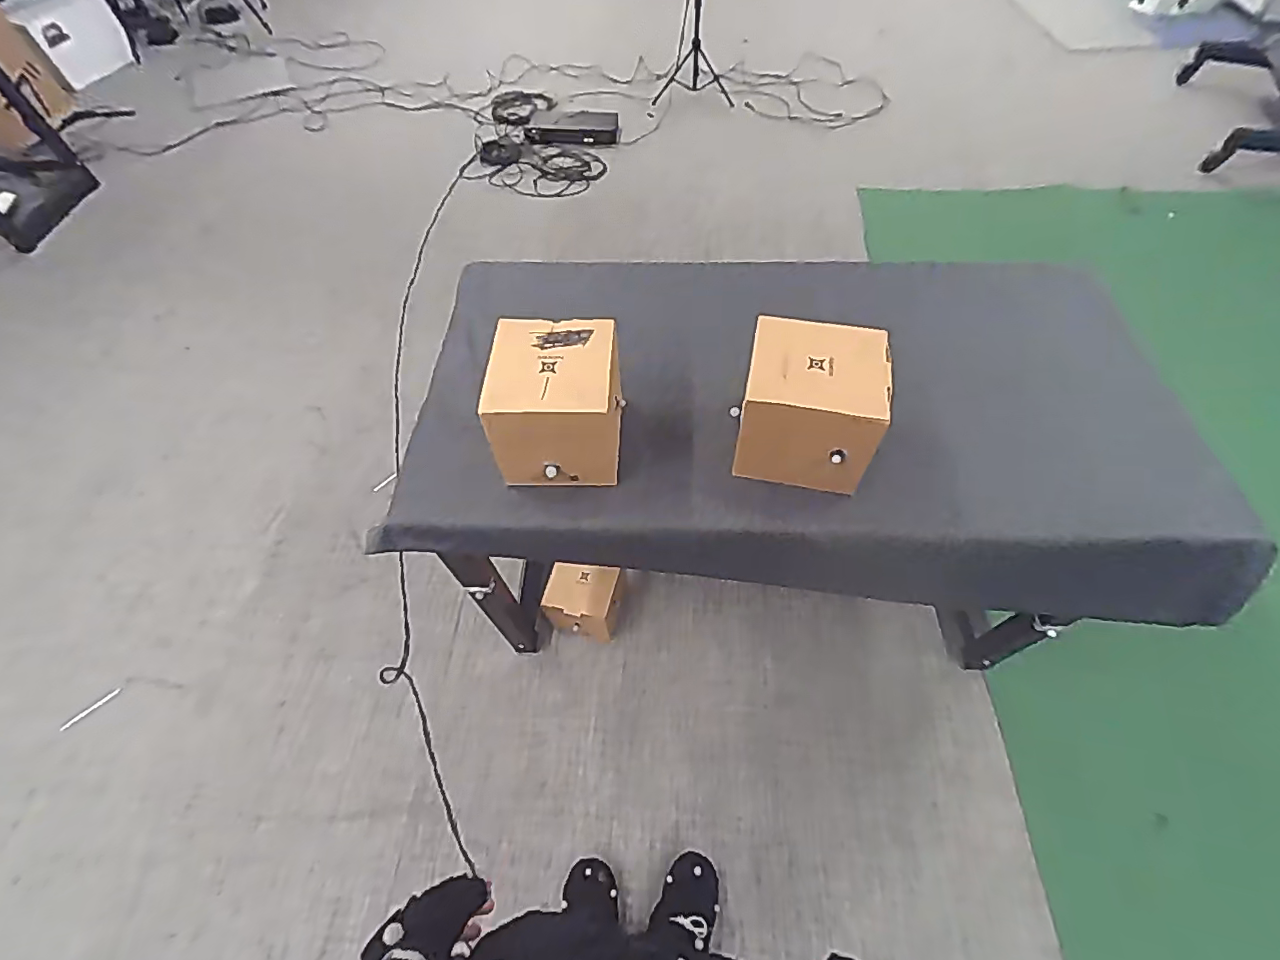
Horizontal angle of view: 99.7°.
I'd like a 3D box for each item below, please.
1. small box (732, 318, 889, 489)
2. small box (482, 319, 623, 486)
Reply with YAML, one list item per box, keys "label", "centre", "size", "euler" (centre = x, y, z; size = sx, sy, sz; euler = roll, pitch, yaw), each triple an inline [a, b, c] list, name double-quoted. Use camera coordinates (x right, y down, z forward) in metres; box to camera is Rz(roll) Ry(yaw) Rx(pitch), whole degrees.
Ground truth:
- label: "small box"
  centre: [0.236, -0.104, 0.774]
  size: [0.179, 0.176, 0.168]
  euler: [9, 56, 9]
- label: "small box"
  centre: [-0.113, -0.111, 0.785]
  size: [0.168, 0.176, 0.179]
  euler: [0, 56, 2]
